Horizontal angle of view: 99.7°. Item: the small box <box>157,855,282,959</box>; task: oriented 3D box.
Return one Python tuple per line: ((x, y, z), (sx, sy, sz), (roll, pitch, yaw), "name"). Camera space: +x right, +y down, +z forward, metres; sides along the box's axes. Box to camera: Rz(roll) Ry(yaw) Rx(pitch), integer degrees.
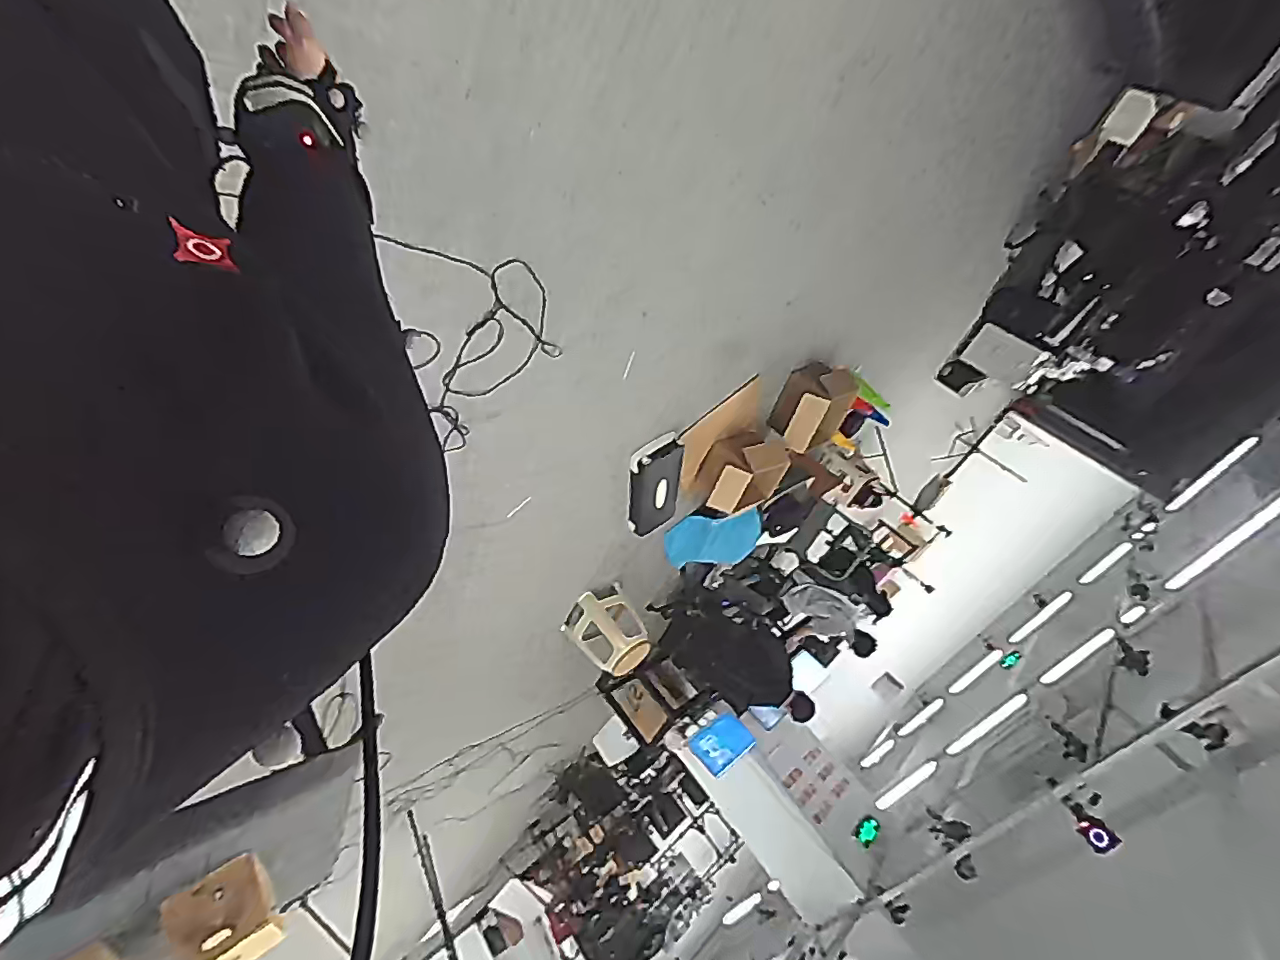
((-0.919, 0.972, 1.189), (0.168, 0.176, 0.179), (-22, 144, -37), "small box")
